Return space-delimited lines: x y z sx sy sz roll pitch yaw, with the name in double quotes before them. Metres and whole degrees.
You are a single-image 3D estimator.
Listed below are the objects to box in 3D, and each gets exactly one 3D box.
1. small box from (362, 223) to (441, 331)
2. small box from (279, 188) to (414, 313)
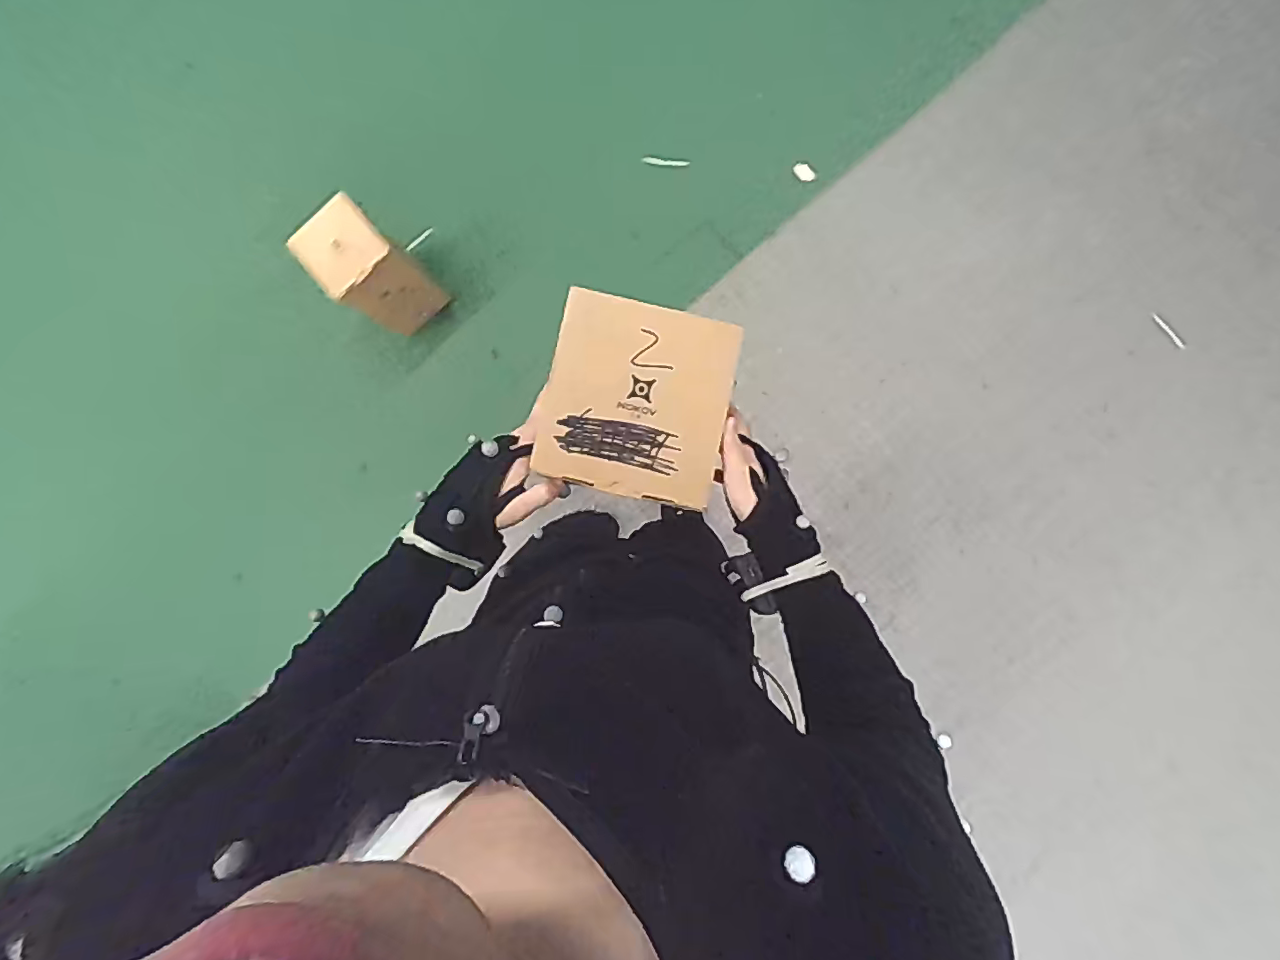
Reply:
"small box" -0.659 -0.518 1.409 0.168 0.176 0.179 -40 89 3
"small box" -0.666 -0.517 1.247 0.168 0.176 0.179 -41 89 2
